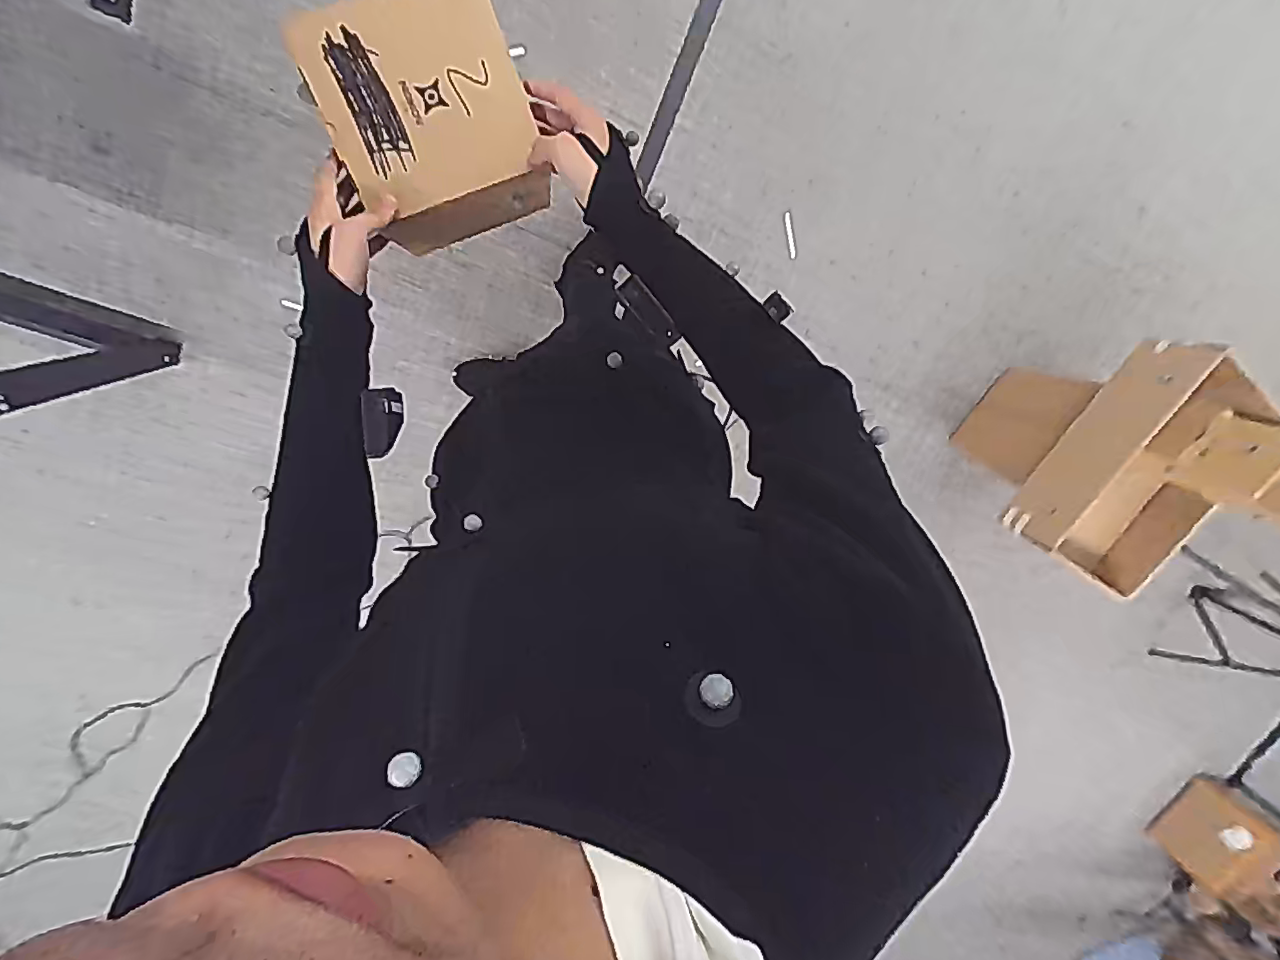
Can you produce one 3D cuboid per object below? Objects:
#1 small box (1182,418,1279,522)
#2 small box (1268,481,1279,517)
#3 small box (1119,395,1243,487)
[{"bbox_3d":[1.452,-0.027,1.270,0.179,0.176,0.168,26,107,-21],"label":"small box"},{"bbox_3d":[1.489,0.044,1.126,0.168,0.176,0.179,25,108,-21],"label":"small box"},{"bbox_3d":[1.419,-0.105,1.409,0.179,0.176,0.168,30,105,-22],"label":"small box"}]
